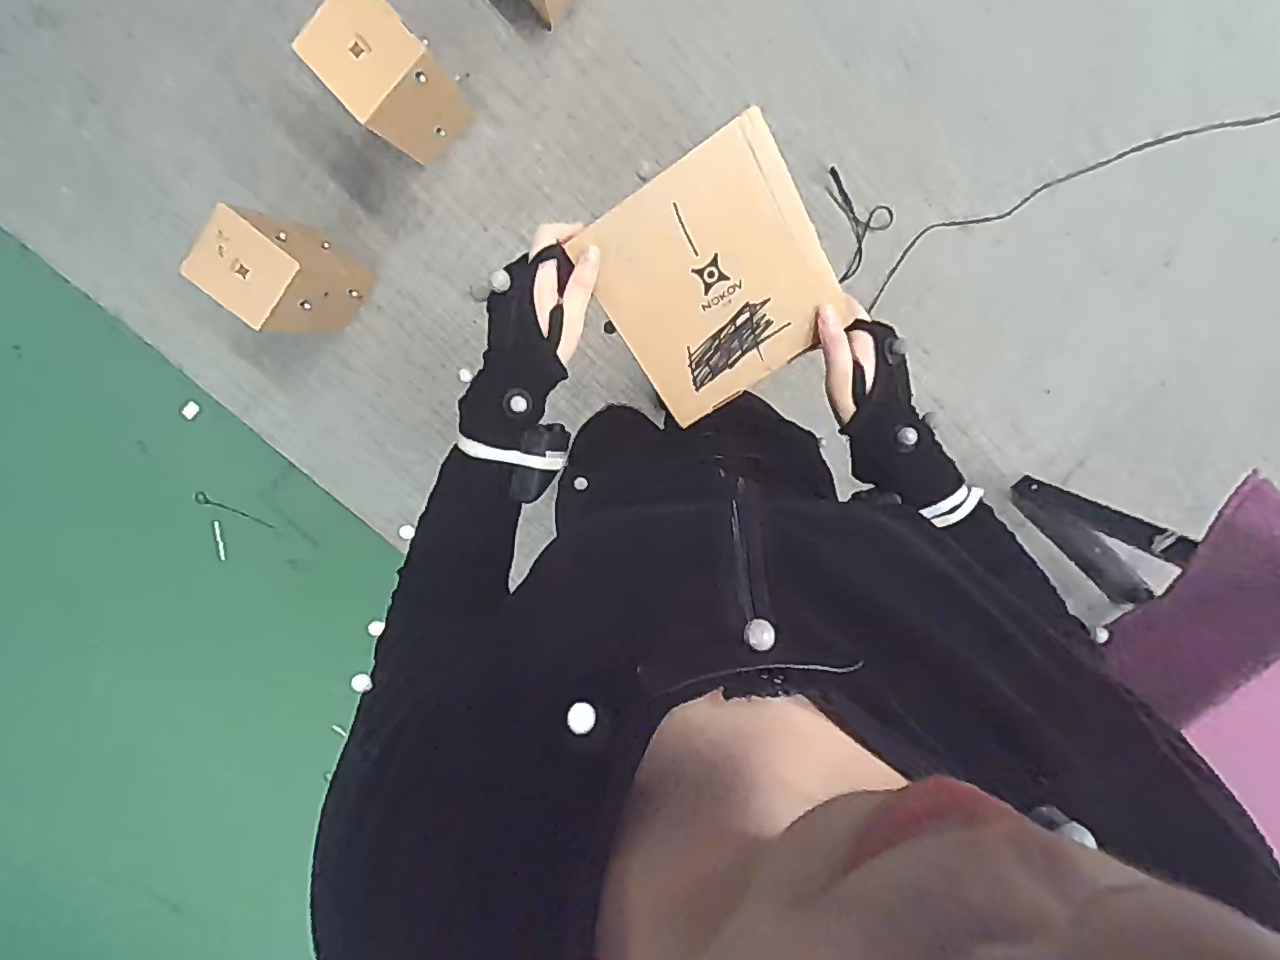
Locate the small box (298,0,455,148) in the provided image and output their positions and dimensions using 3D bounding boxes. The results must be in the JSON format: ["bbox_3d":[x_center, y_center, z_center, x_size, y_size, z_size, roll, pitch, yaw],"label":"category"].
[{"bbox_3d":[-0.486,-0.779,1.027,0.179,0.176,0.168,-41,102,11],"label":"small box"}]

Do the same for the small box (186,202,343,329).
[{"bbox_3d":[-0.769,-0.439,1.129,0.179,0.176,0.168,41,101,-10],"label":"small box"}]

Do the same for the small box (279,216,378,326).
[{"bbox_3d":[-0.769,-0.488,1.286,0.179,0.176,0.168,42,102,-10],"label":"small box"}]

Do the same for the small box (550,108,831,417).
[{"bbox_3d":[0.041,-0.192,0.494,0.168,0.176,0.179,-31,114,12],"label":"small box"}]

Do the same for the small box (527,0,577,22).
[{"bbox_3d":[-0.191,-1.094,1.102,0.168,0.176,0.179,-42,102,11],"label":"small box"}]
